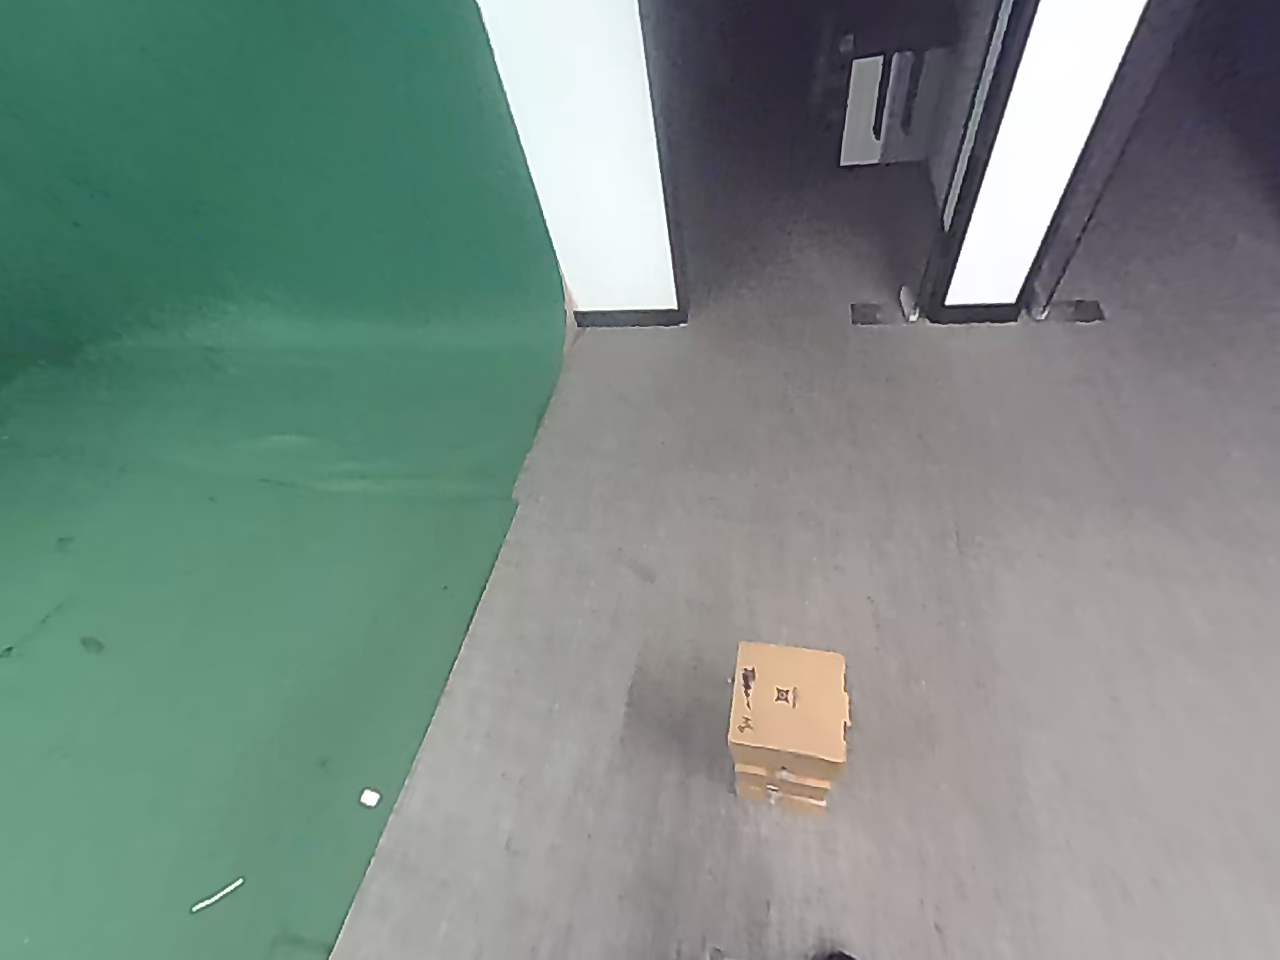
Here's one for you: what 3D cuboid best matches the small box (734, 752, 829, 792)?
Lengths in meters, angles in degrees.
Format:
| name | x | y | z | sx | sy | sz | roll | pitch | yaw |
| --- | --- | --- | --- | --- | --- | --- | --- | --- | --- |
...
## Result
| name | x | y | z | sx | sy | sz | roll | pitch | yaw |
| --- | --- | --- | --- | --- | --- | --- | --- | --- | --- |
| small box | 0.279 | 0.486 | 1.055 | 0.168 | 0.176 | 0.179 | 3 | 56 | 17 |

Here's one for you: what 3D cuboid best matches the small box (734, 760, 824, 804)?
| name | x | y | z | sx | sy | sz | roll | pitch | yaw |
| --- | --- | --- | --- | --- | --- | --- | --- | --- | --- |
| small box | 0.307 | 0.588 | 1.178 | 0.179 | 0.176 | 0.168 | 6 | 56 | 16 |

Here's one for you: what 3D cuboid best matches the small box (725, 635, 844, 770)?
| name | x | y | z | sx | sy | sz | roll | pitch | yaw |
| --- | --- | --- | --- | --- | --- | --- | --- | --- | --- |
| small box | 0.248 | 0.386 | 0.930 | 0.179 | 0.176 | 0.168 | 4 | 55 | 17 |
